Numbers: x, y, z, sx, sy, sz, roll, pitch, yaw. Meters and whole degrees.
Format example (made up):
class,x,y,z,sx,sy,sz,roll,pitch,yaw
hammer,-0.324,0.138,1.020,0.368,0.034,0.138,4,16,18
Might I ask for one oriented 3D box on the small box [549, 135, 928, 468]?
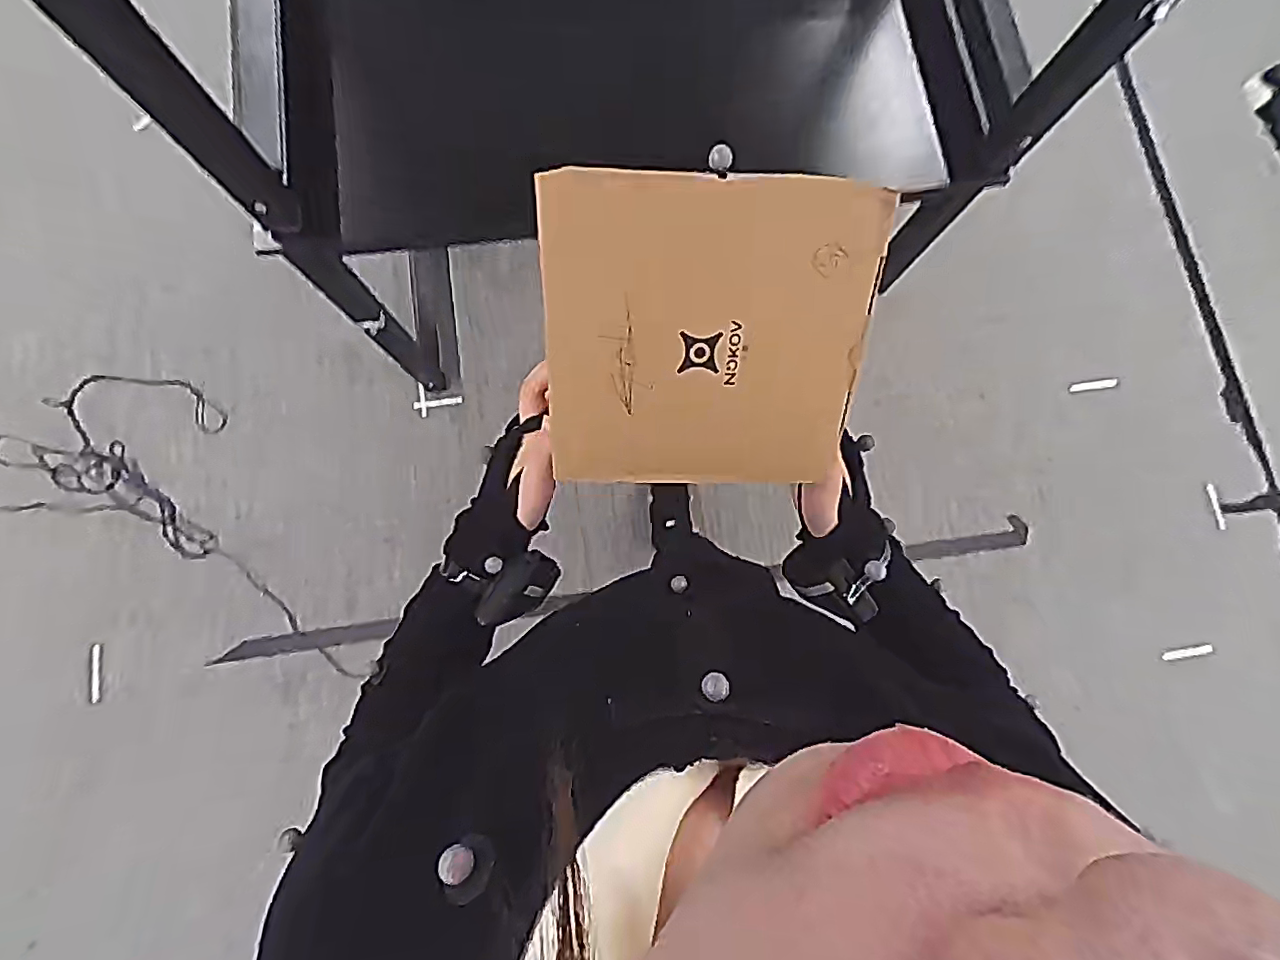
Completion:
class,x,y,z,sx,sy,sz,roll,pitch,yaw
small box,0.038,-0.121,0.348,0.179,0.176,0.168,1,121,-3
